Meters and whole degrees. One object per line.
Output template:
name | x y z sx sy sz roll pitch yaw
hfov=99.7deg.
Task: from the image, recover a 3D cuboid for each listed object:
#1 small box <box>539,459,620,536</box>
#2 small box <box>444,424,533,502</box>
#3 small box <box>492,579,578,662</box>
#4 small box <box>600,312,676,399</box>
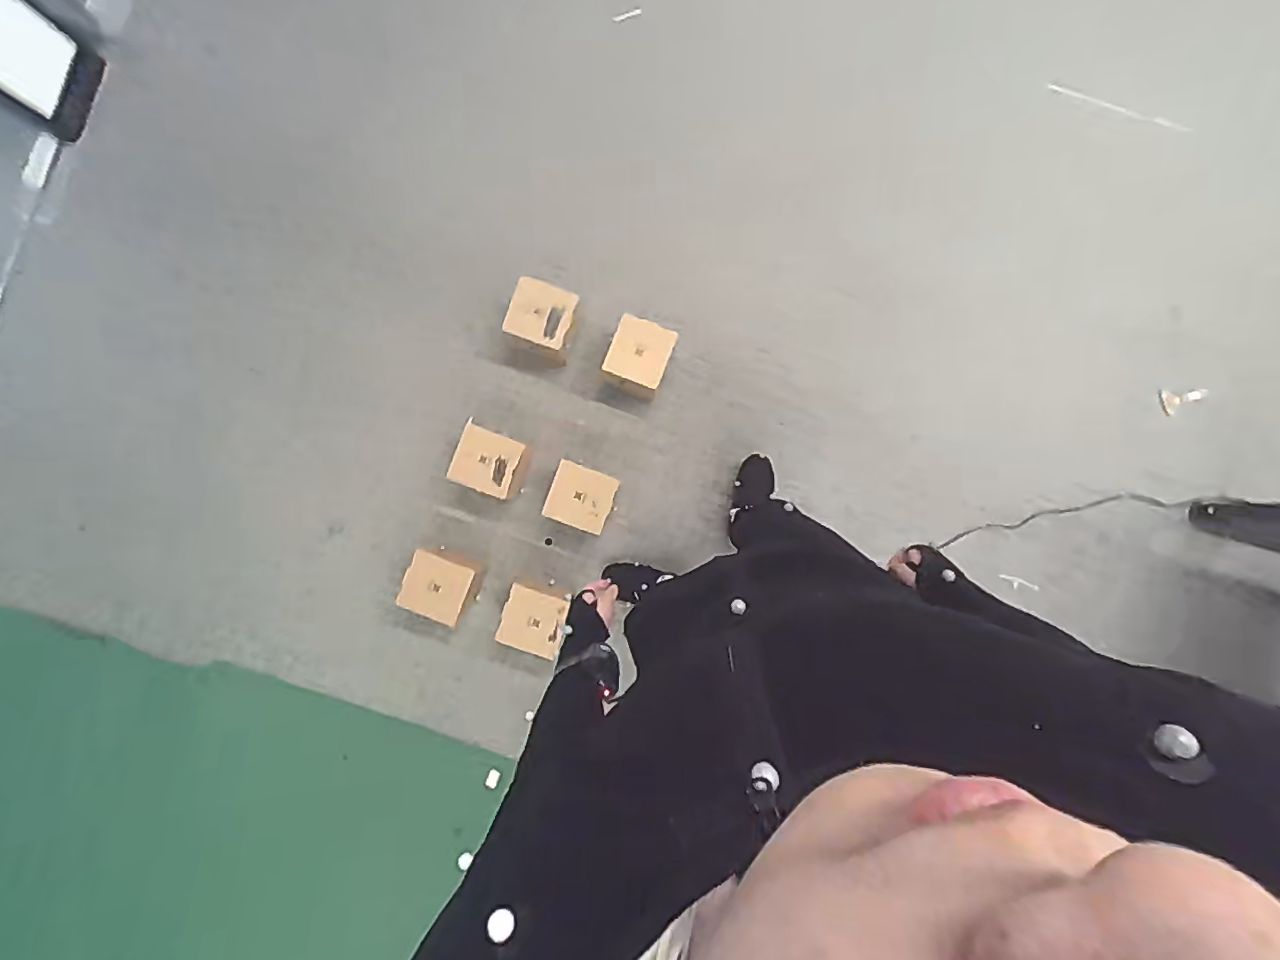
small box | -0.165 0.053 1.544 0.179 0.176 0.168 21 88 1
small box | -0.425 -0.045 1.547 0.179 0.176 0.168 21 88 1
small box | -0.289 0.389 1.530 0.179 0.176 0.168 19 88 2
small box | -0.004 -0.350 1.563 0.168 0.176 0.179 21 87 1
